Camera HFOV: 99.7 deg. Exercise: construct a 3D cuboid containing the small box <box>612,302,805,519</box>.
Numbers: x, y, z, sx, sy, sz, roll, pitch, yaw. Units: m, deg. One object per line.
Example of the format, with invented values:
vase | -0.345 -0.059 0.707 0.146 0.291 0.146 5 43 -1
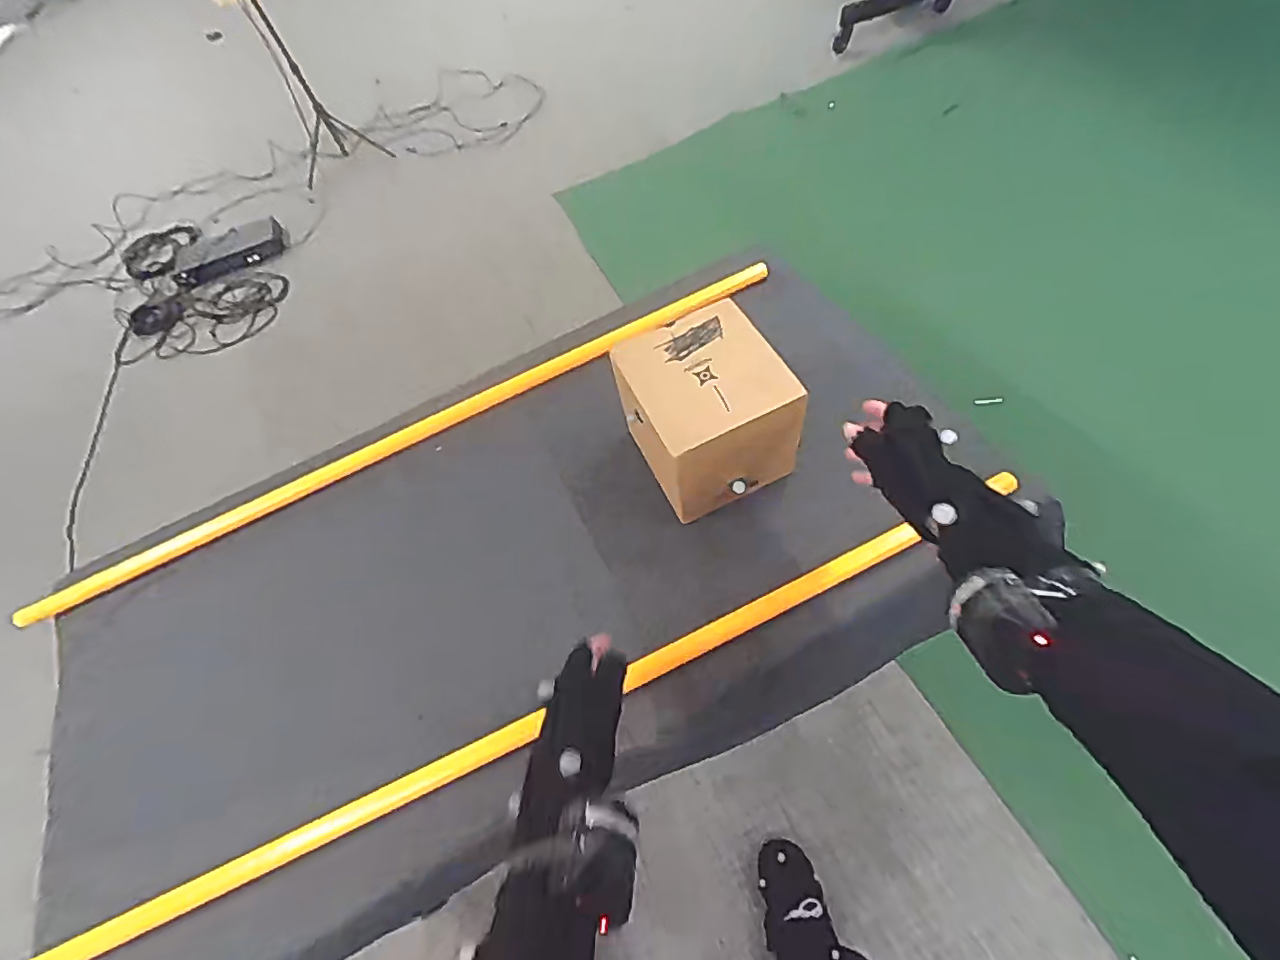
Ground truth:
small box | 0.081 -0.082 0.683 0.168 0.176 0.179 -25 60 -5
